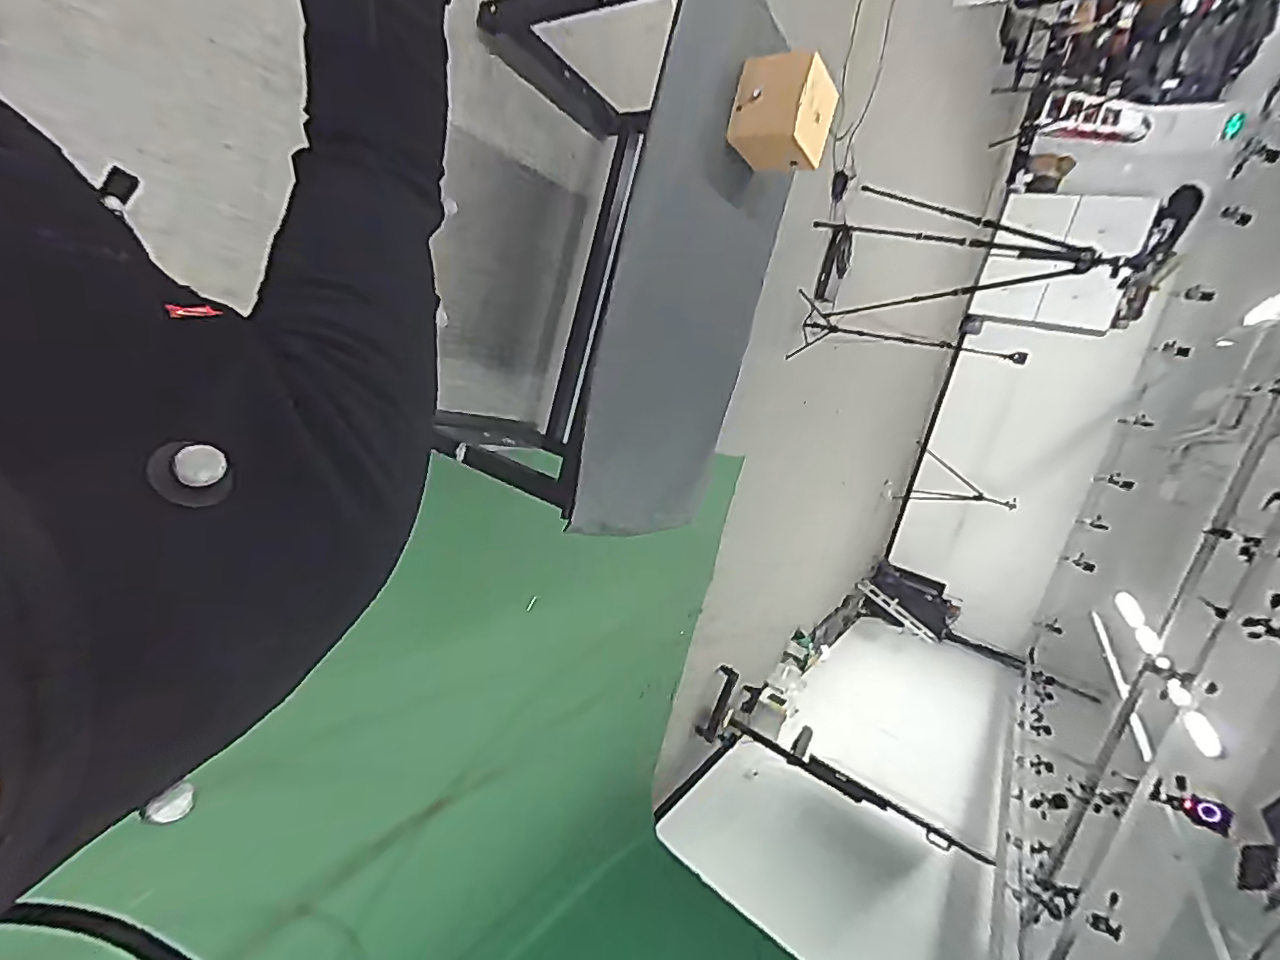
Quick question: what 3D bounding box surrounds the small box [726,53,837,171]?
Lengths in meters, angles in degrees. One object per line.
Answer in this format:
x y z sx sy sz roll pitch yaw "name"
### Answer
0.324 -0.835 1.240 0.179 0.176 0.168 -2 110 -55 "small box"
